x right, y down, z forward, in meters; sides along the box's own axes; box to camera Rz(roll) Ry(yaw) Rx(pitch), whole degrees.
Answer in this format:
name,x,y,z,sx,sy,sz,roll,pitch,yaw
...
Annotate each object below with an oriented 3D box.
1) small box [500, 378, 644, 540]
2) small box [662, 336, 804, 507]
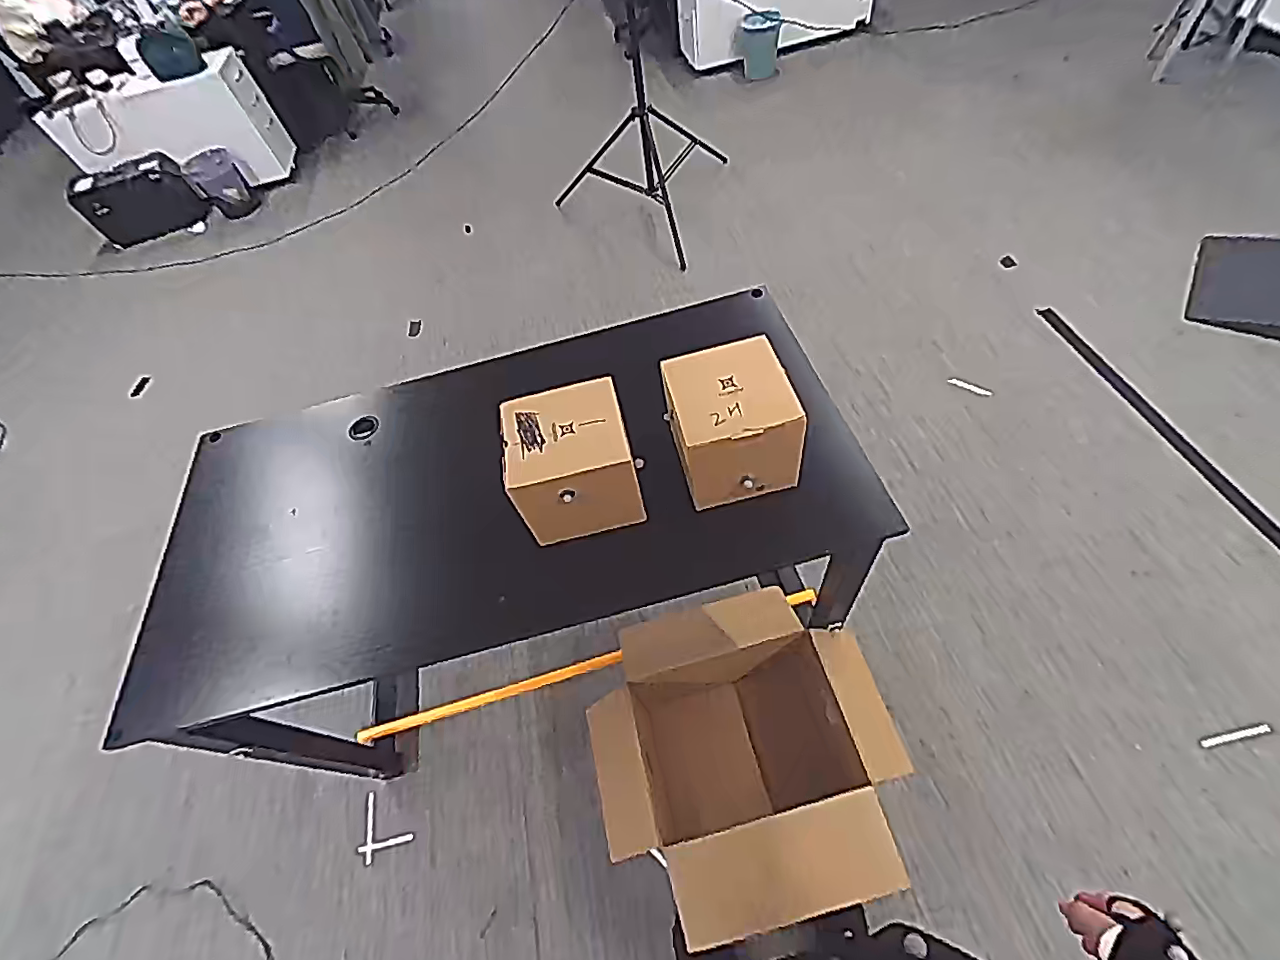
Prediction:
name,x,y,z,sx,sy,sz,roll,pitch,yaw
small box,-0.102,-0.026,0.834,0.179,0.176,0.168,-13,55,0
small box,0.137,-0.086,0.831,0.168,0.176,0.179,-14,55,2
